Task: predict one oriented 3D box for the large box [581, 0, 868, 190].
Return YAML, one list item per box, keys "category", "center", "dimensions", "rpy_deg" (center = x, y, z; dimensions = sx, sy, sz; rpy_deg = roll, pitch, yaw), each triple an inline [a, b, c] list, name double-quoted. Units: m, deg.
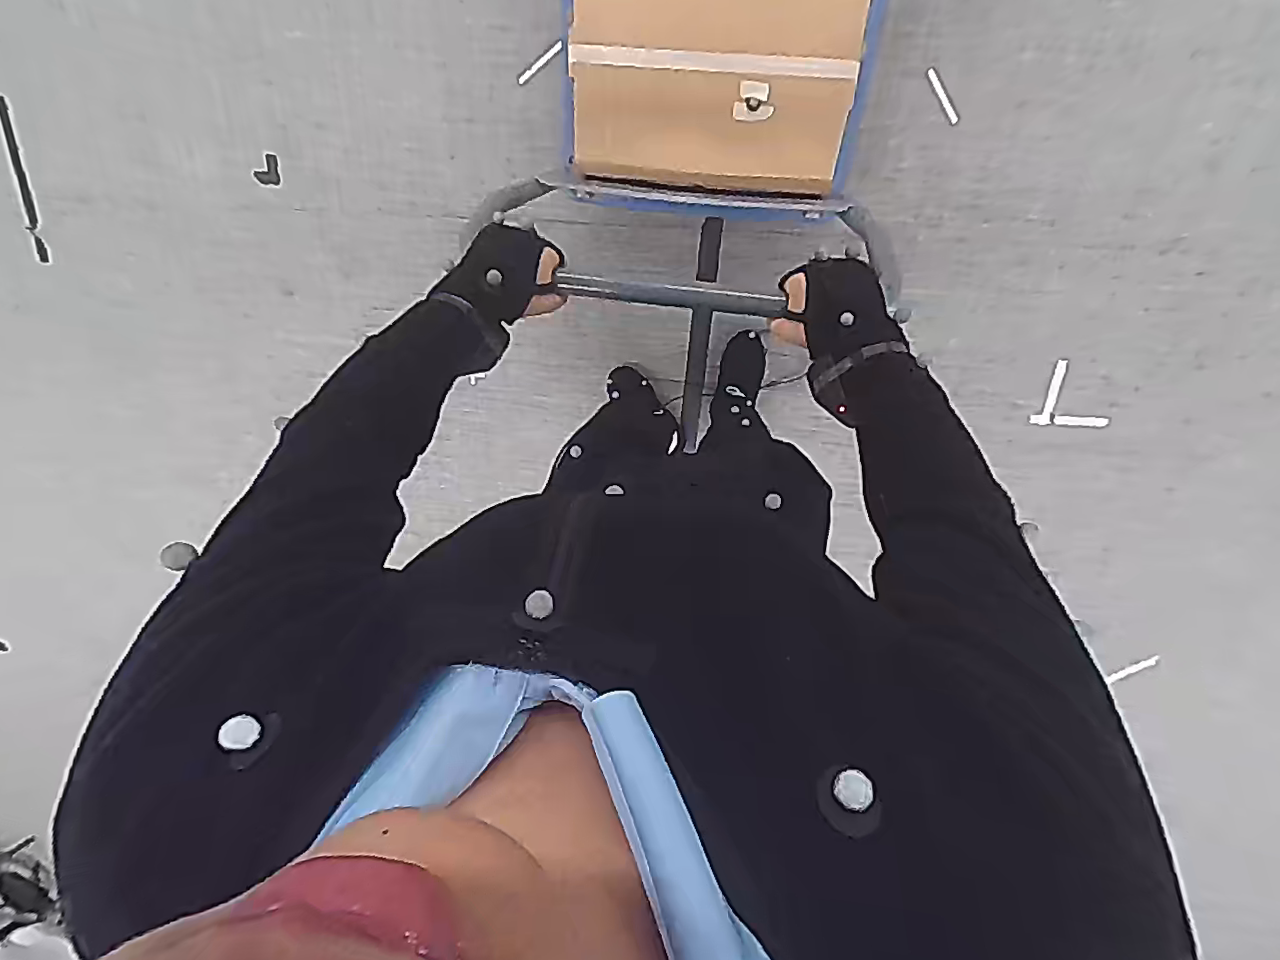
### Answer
- category: "large box"
  center: [0.125, -0.681, 0.913]
  dimensions: [0.408, 0.320, 0.320]
  rpy_deg: [7, 121, 4]
